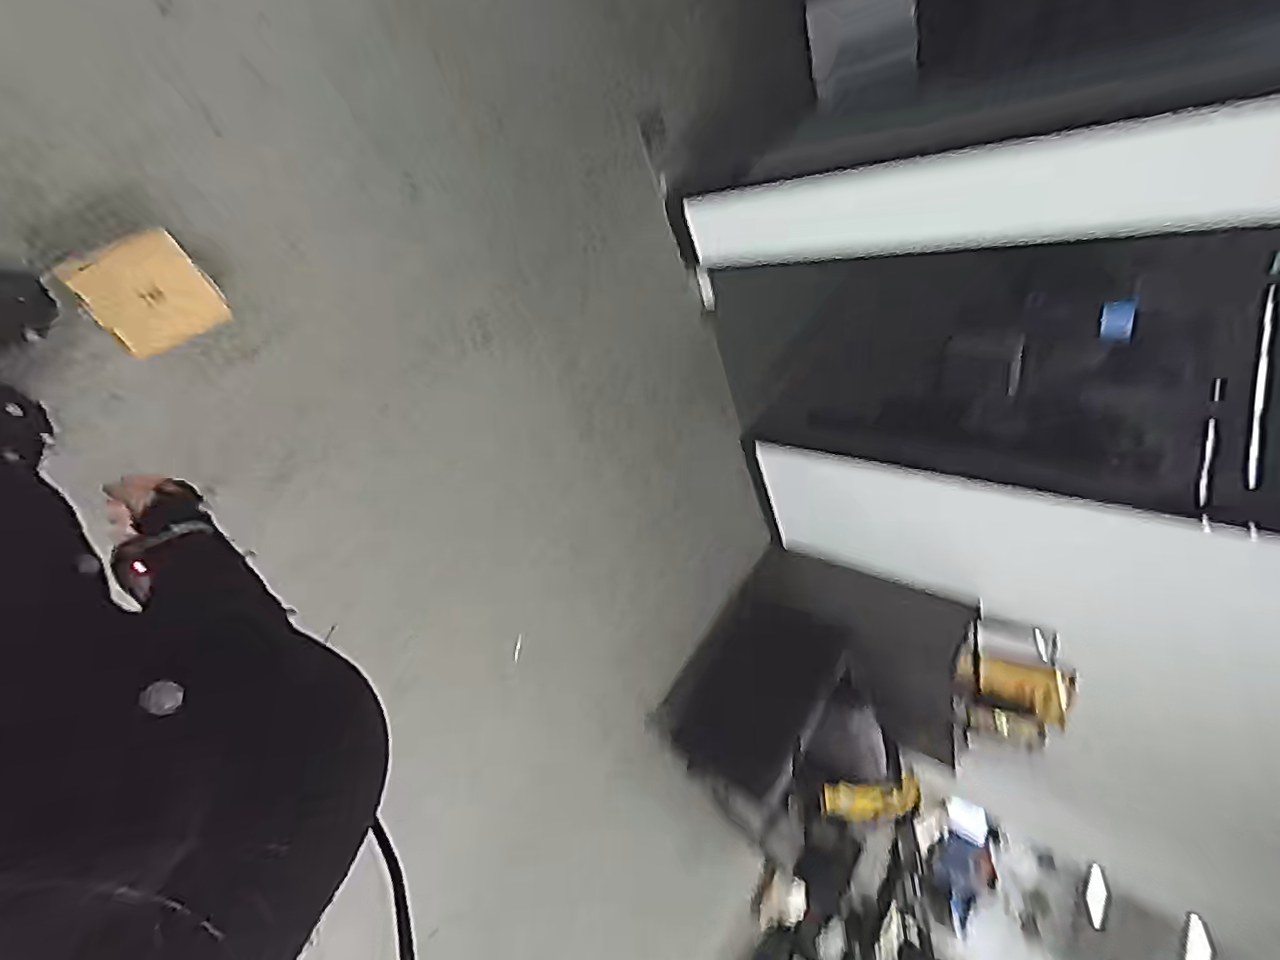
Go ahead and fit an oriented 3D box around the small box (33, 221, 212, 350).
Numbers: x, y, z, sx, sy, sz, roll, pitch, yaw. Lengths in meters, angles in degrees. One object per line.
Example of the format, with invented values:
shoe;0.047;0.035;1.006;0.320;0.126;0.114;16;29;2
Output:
small box;-0.952;-0.360;0.997;0.179;0.176;0.168;-45;133;-30
